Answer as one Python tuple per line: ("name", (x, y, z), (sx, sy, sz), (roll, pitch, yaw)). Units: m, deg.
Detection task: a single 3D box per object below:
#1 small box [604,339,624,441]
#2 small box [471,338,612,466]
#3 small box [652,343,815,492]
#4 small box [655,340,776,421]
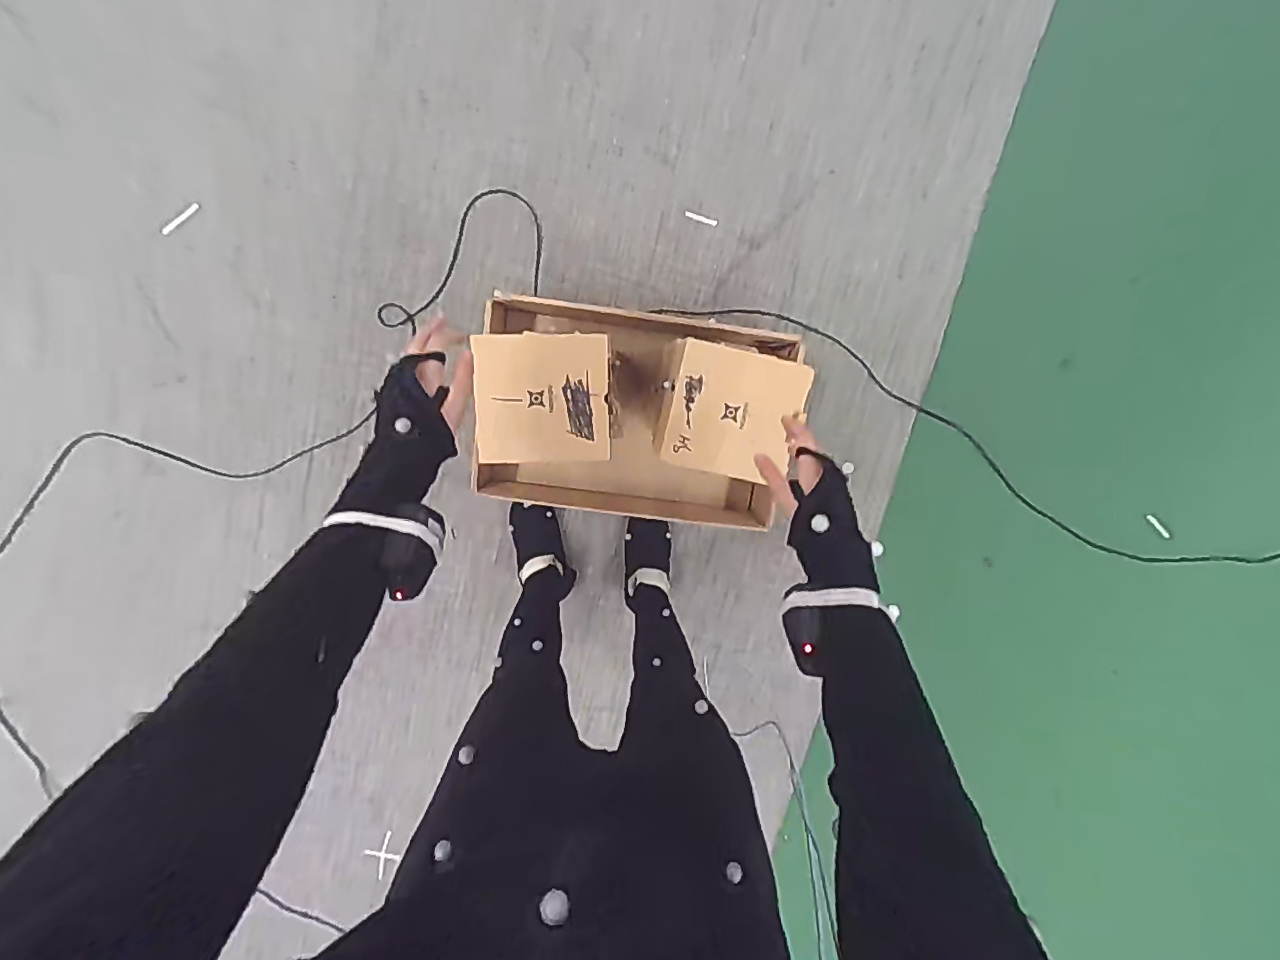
("small box", (-0.128, -0.149, 0.937), (0.179, 0.176, 0.168), (-8, 102, -2))
("small box", (-0.130, -0.116, 0.775), (0.179, 0.176, 0.168), (-1, 101, -3))
("small box", (0.122, -0.094, 0.786), (0.179, 0.176, 0.168), (13, 99, -4))
("small box", (0.121, -0.137, 0.947), (0.168, 0.176, 0.179), (10, 100, -3))
